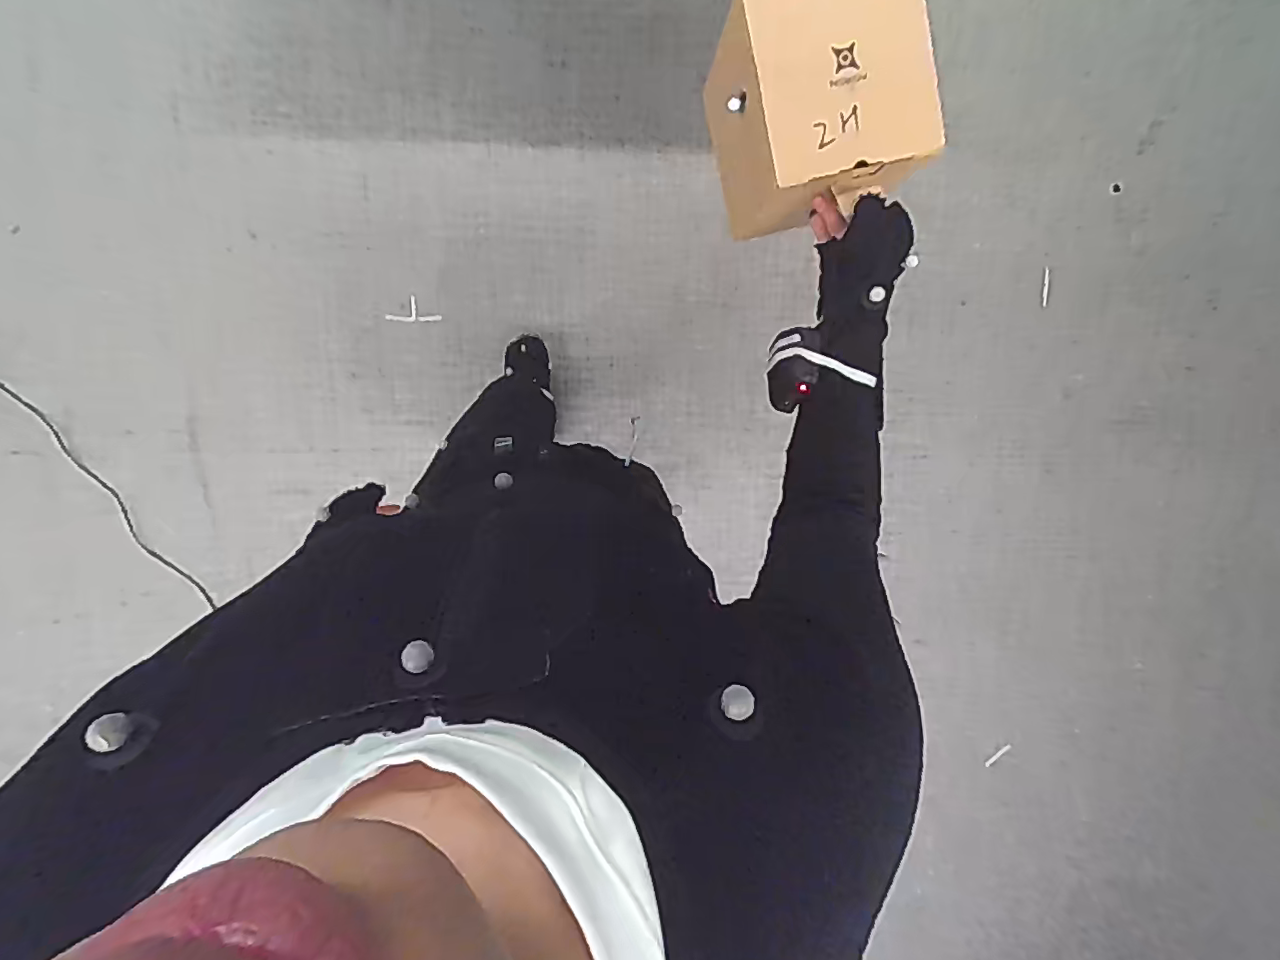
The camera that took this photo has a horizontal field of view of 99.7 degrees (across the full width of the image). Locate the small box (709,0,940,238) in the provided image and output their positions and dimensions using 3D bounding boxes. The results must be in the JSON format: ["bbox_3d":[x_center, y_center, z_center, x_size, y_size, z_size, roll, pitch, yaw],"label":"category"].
[{"bbox_3d":[0.180,-0.383,0.573,0.168,0.176,0.179,-13,99,-2],"label":"small box"}]

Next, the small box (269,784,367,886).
[{"bbox_3d":[-0.843,0.931,1.429,0.168,0.176,0.179,-2,95,-3],"label":"small box"}]
